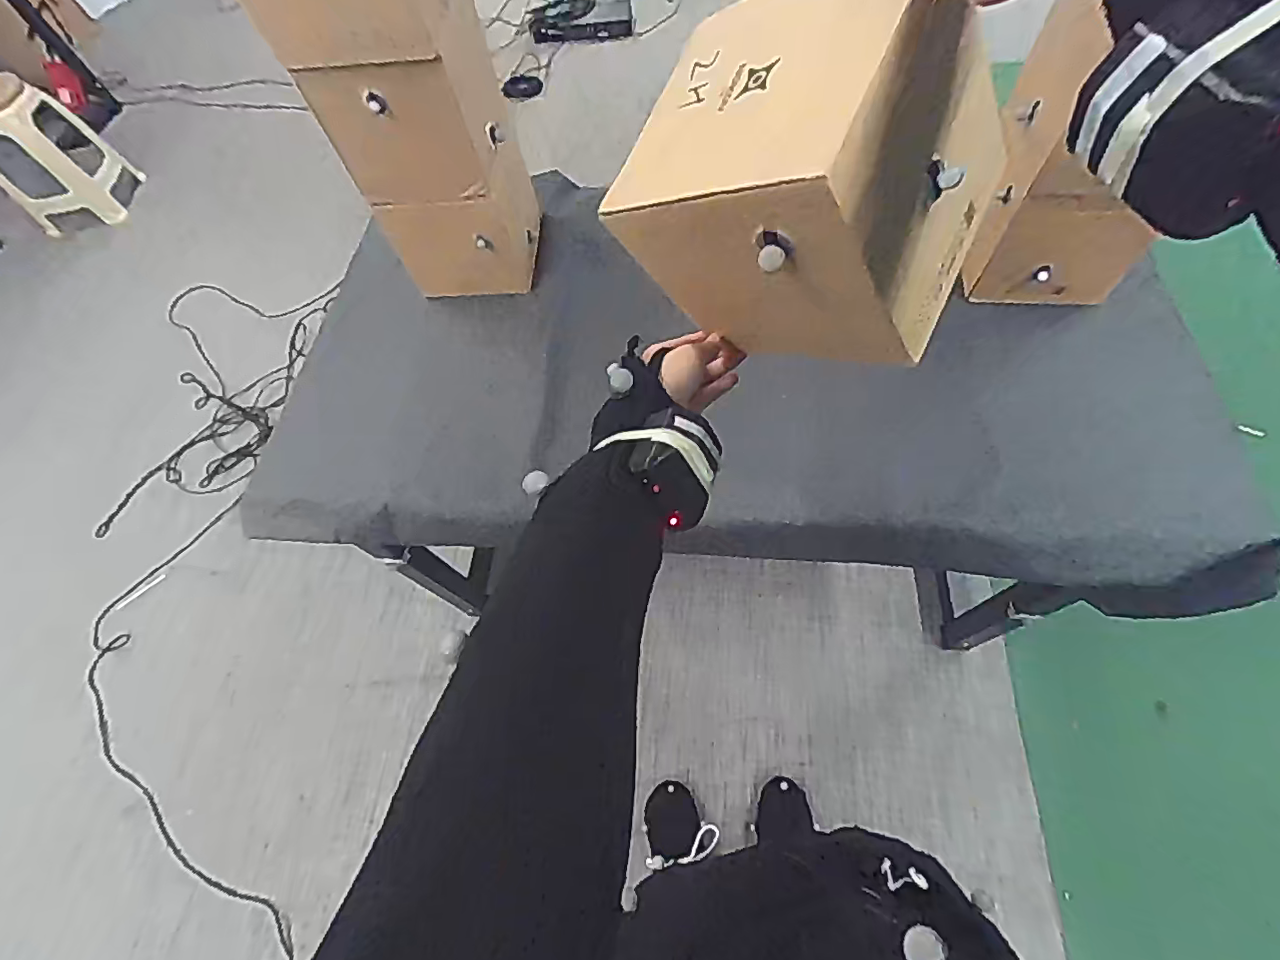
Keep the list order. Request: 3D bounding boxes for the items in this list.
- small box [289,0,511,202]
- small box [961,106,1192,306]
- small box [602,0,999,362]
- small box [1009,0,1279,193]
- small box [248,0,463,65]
[{"bbox_3d":[-0.278,-0.471,0.671,0.179,0.176,0.168,-1,65,5],"label":"small box"},{"bbox_3d":[0.534,-0.353,0.700,0.168,0.176,0.179,4,65,9],"label":"small box"},{"bbox_3d":[0.114,-0.197,0.370,0.179,0.176,0.168,21,81,47],"label":"small box"},{"bbox_3d":[0.513,-0.420,0.552,0.168,0.176,0.179,5,66,9],"label":"small box"},{"bbox_3d":[-0.291,-0.535,0.519,0.179,0.176,0.168,1,65,6],"label":"small box"}]
